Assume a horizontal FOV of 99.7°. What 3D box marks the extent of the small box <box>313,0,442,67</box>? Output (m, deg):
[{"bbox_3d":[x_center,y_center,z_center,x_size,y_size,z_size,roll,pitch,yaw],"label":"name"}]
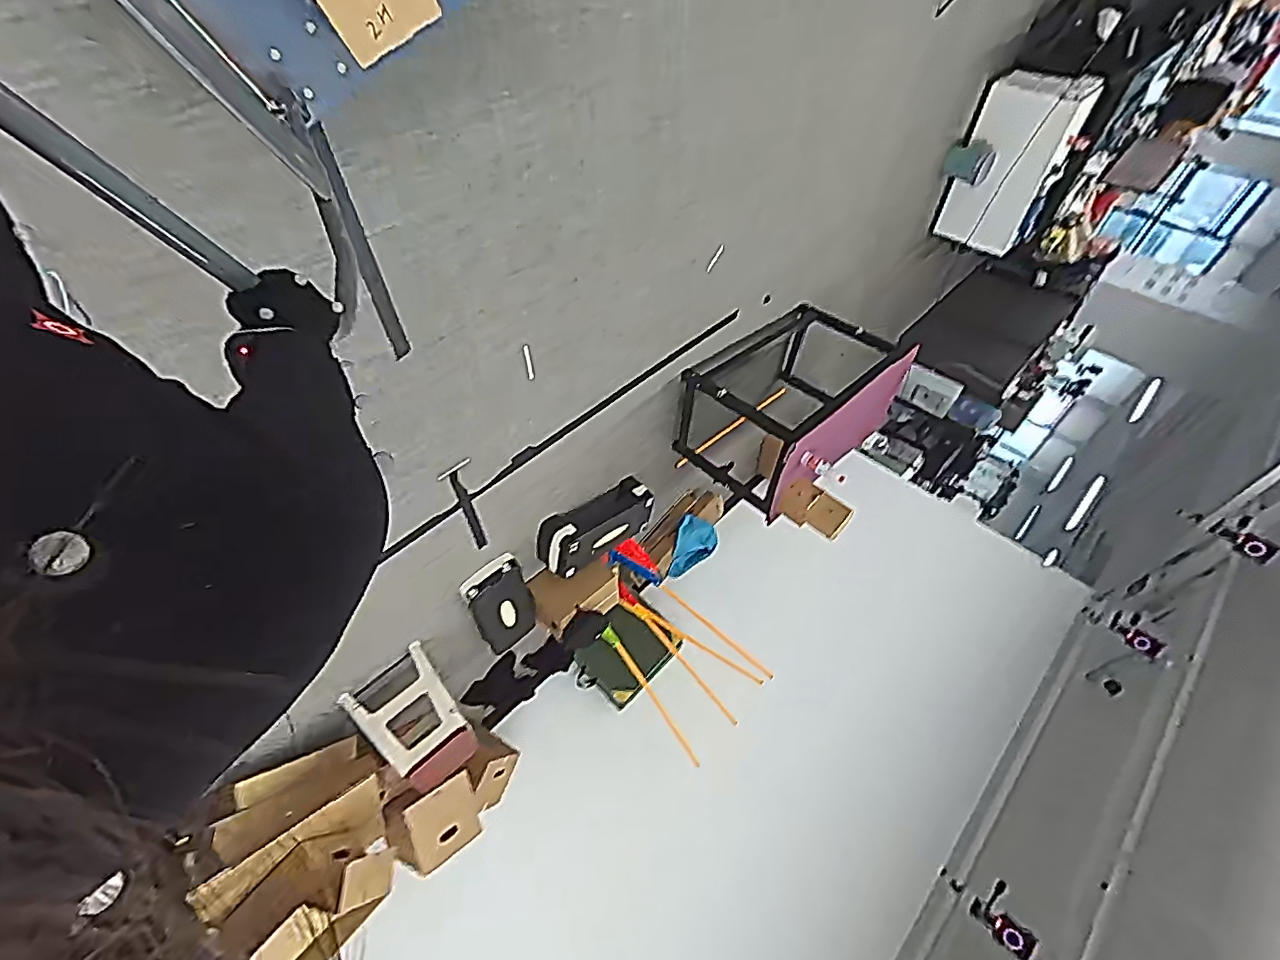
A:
[{"bbox_3d":[-0.457,-0.821,0.861,0.168,0.176,0.179,-34,152,-1],"label":"small box"}]
